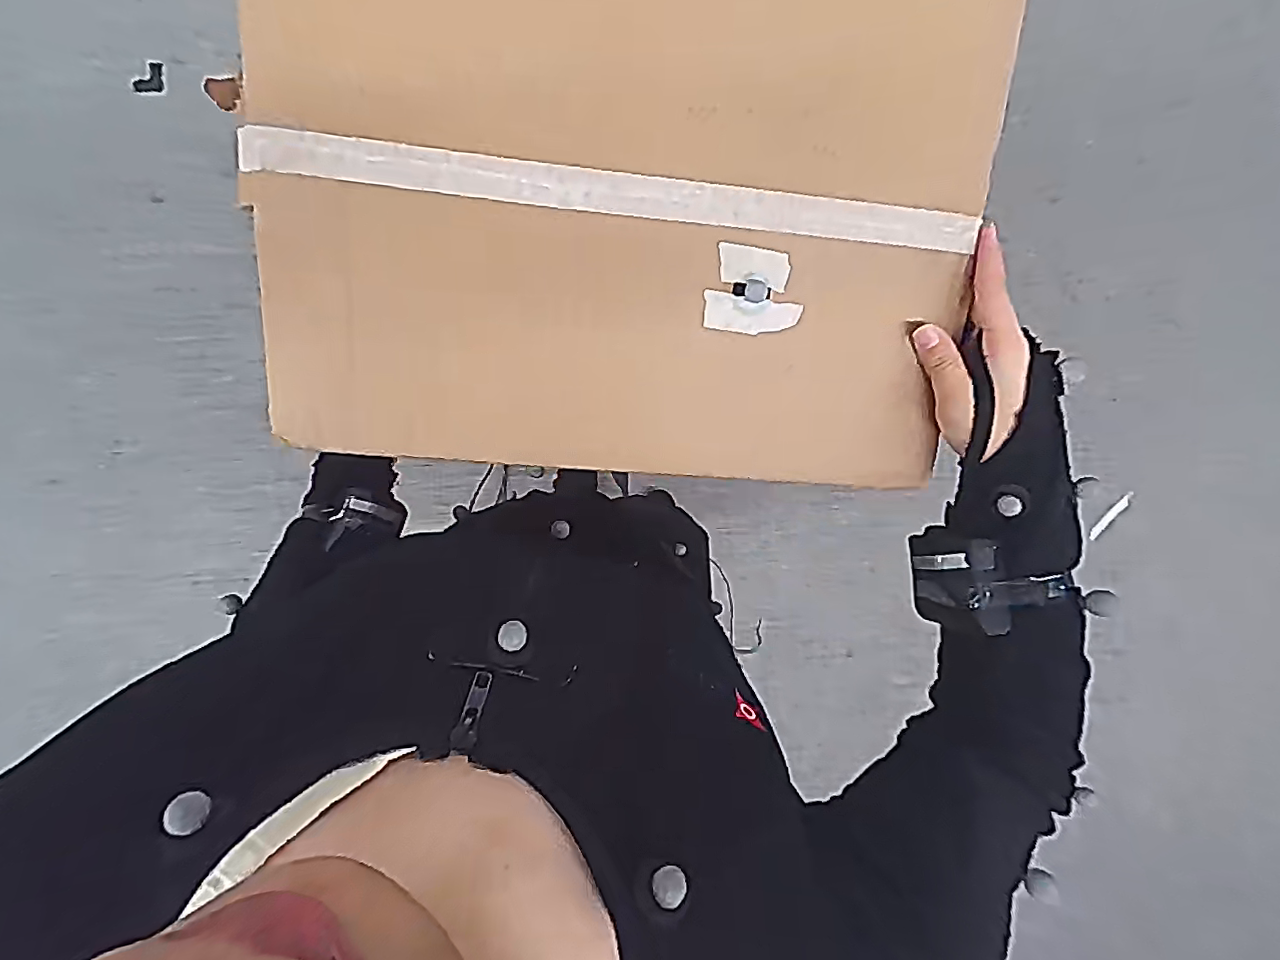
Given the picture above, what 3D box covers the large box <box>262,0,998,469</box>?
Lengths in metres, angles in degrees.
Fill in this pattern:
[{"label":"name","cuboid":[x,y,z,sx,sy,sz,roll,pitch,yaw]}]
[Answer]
[{"label":"large box","cuboid":[-0.017,-0.195,0.456,0.408,0.320,0.320,3,104,-8]}]
